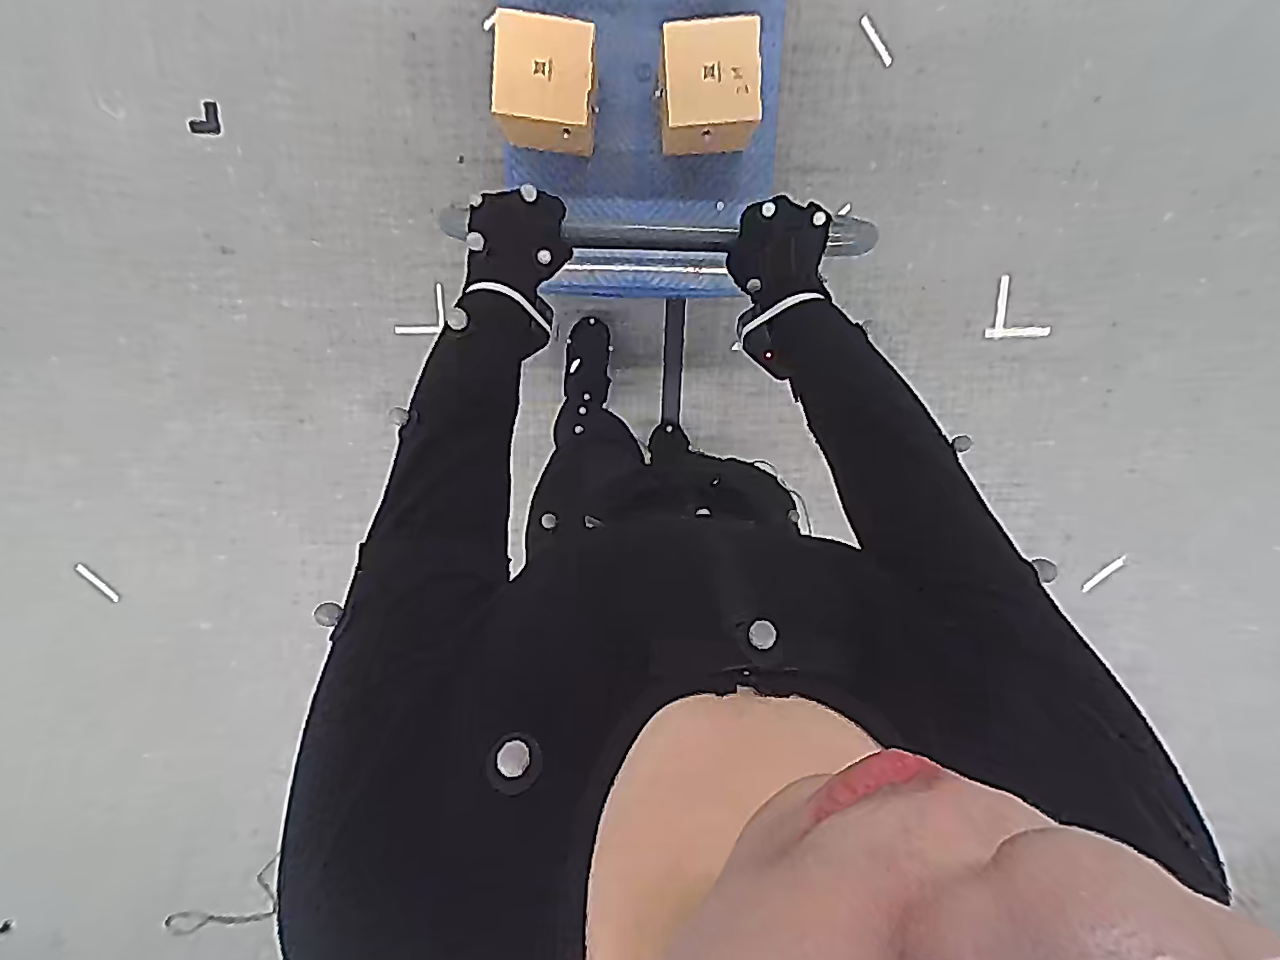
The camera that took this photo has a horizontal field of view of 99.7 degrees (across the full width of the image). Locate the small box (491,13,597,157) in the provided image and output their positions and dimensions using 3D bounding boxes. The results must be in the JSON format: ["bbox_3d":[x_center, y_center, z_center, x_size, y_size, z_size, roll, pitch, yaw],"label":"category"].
[{"bbox_3d":[-0.180,-0.753,1.052,0.179,0.176,0.168,5,104,-5],"label":"small box"}]

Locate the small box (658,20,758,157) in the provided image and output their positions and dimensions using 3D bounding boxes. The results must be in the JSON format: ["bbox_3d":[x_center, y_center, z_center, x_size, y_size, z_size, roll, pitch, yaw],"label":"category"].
[{"bbox_3d":[0.127,-0.754,1.060,0.179,0.176,0.168,-5,105,0],"label":"small box"}]
